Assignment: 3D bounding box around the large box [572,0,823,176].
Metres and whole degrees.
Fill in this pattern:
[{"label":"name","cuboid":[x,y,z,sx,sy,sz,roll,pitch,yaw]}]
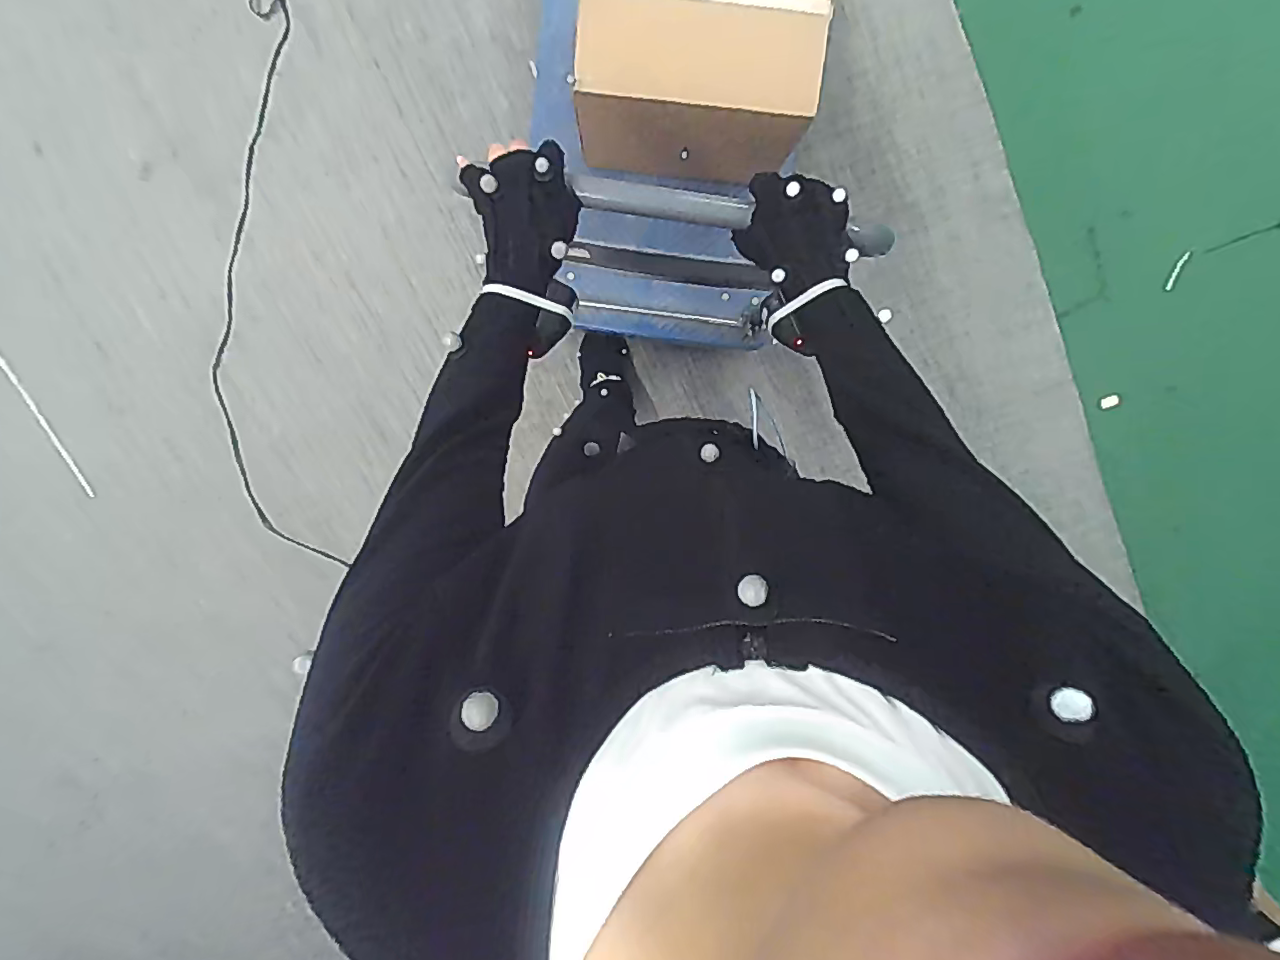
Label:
[{"label":"large box","cuboid":[0.096,-0.798,1.009,0.408,0.320,0.320,4,99,-2]}]
